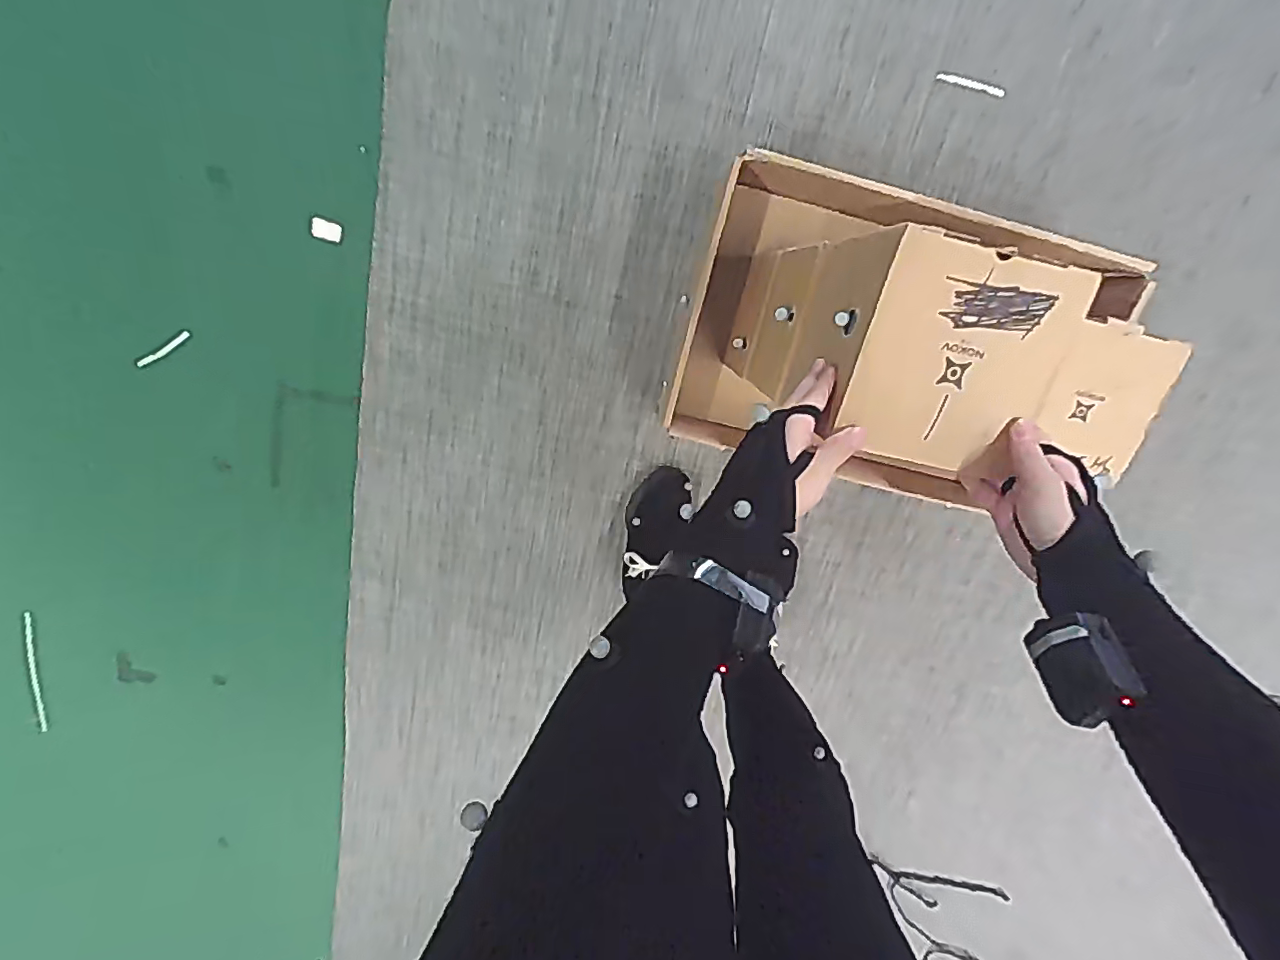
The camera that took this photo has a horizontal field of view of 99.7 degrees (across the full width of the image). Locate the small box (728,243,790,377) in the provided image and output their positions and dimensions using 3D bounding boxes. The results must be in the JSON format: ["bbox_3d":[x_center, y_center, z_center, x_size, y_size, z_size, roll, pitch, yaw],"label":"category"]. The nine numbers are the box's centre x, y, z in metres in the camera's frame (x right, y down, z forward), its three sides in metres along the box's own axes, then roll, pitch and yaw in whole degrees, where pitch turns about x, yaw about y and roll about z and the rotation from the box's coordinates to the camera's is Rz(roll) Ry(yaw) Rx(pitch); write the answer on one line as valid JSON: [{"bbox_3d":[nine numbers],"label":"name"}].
[{"bbox_3d":[0.239,-0.238,0.812,0.168,0.176,0.179,13,109,-6],"label":"small box"}]

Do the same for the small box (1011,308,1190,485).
[{"bbox_3d":[0.501,-0.118,0.684,0.168,0.176,0.179,14,108,-4],"label":"small box"}]

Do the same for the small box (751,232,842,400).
[{"bbox_3d":[0.245,-0.183,0.661,0.168,0.176,0.179,12,108,-5],"label":"small box"}]

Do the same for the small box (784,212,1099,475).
[{"bbox_3d":[0.252,-0.127,0.506,0.168,0.176,0.179,12,109,-5],"label":"small box"}]
